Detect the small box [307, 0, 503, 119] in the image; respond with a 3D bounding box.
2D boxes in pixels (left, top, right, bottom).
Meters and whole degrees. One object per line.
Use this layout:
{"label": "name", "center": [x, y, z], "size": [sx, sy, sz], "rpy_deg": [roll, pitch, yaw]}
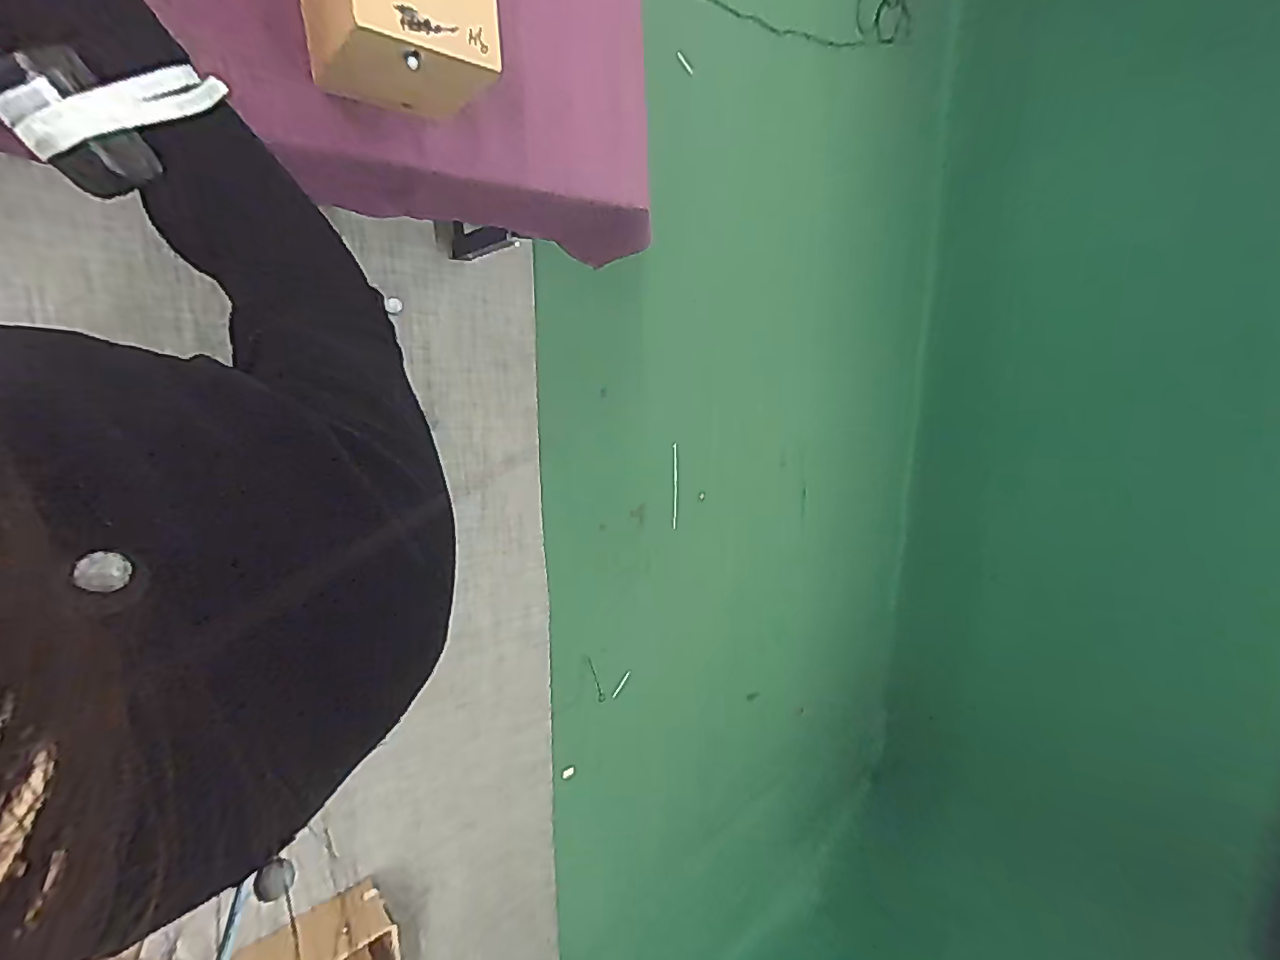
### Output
{"label": "small box", "center": [-0.282, -0.565, 0.631], "size": [0.168, 0.176, 0.179], "rpy_deg": [-14, 107, -39]}
